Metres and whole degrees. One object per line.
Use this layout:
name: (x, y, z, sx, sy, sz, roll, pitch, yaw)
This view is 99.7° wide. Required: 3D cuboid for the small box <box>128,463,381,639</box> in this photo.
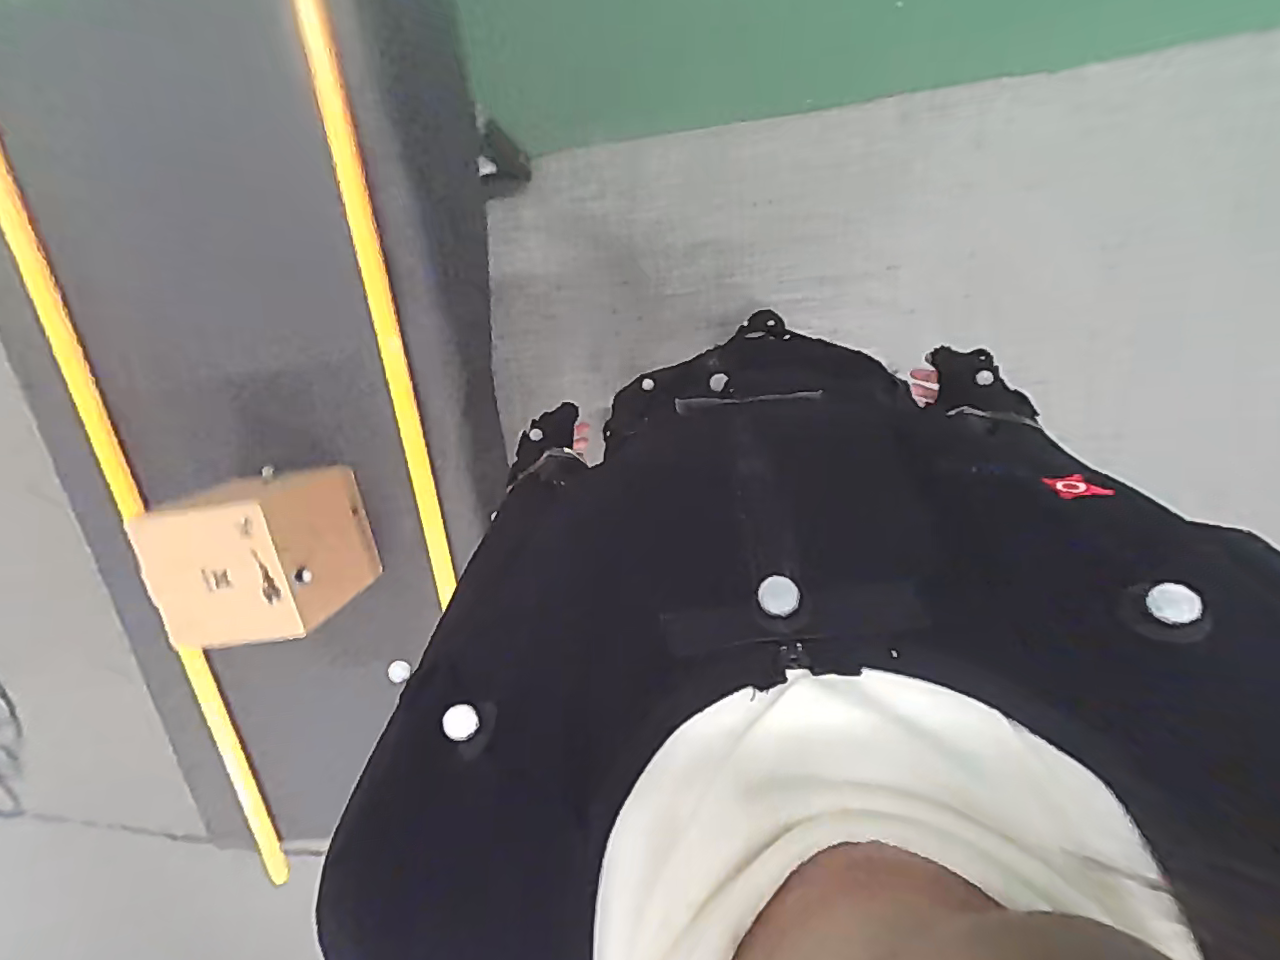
small box: (-0.475, 0.083, 0.695, 0.179, 0.176, 0.168, -8, 105, 9)
